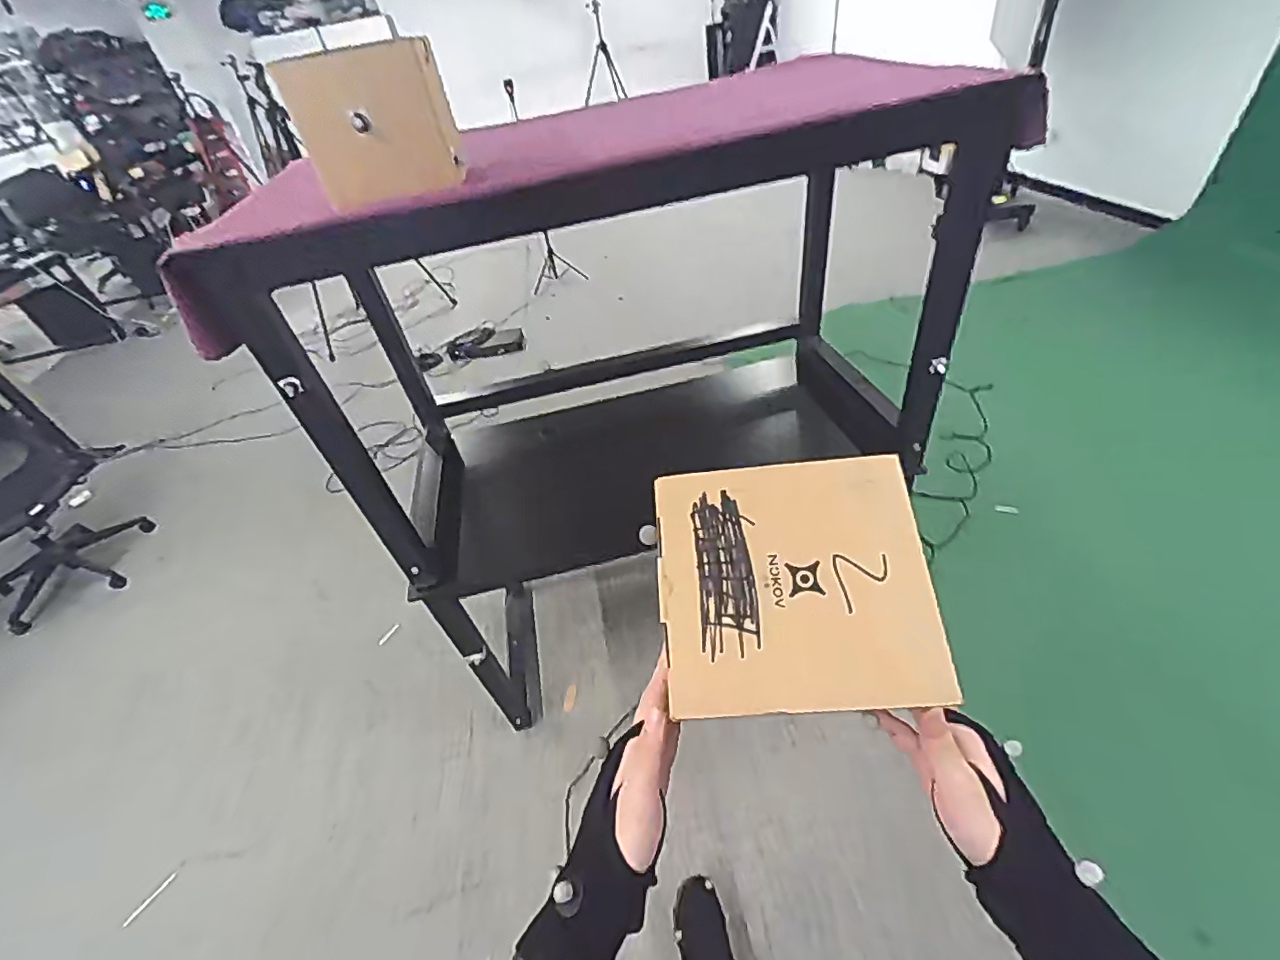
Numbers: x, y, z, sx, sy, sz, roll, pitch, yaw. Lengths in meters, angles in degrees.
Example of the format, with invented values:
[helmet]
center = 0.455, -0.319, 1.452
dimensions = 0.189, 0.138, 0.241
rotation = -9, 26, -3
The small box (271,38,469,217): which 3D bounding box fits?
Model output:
[small box]
center = -0.352, -0.488, 0.750
dimensions = 0.179, 0.176, 0.168
rotation = -13, 40, -2
